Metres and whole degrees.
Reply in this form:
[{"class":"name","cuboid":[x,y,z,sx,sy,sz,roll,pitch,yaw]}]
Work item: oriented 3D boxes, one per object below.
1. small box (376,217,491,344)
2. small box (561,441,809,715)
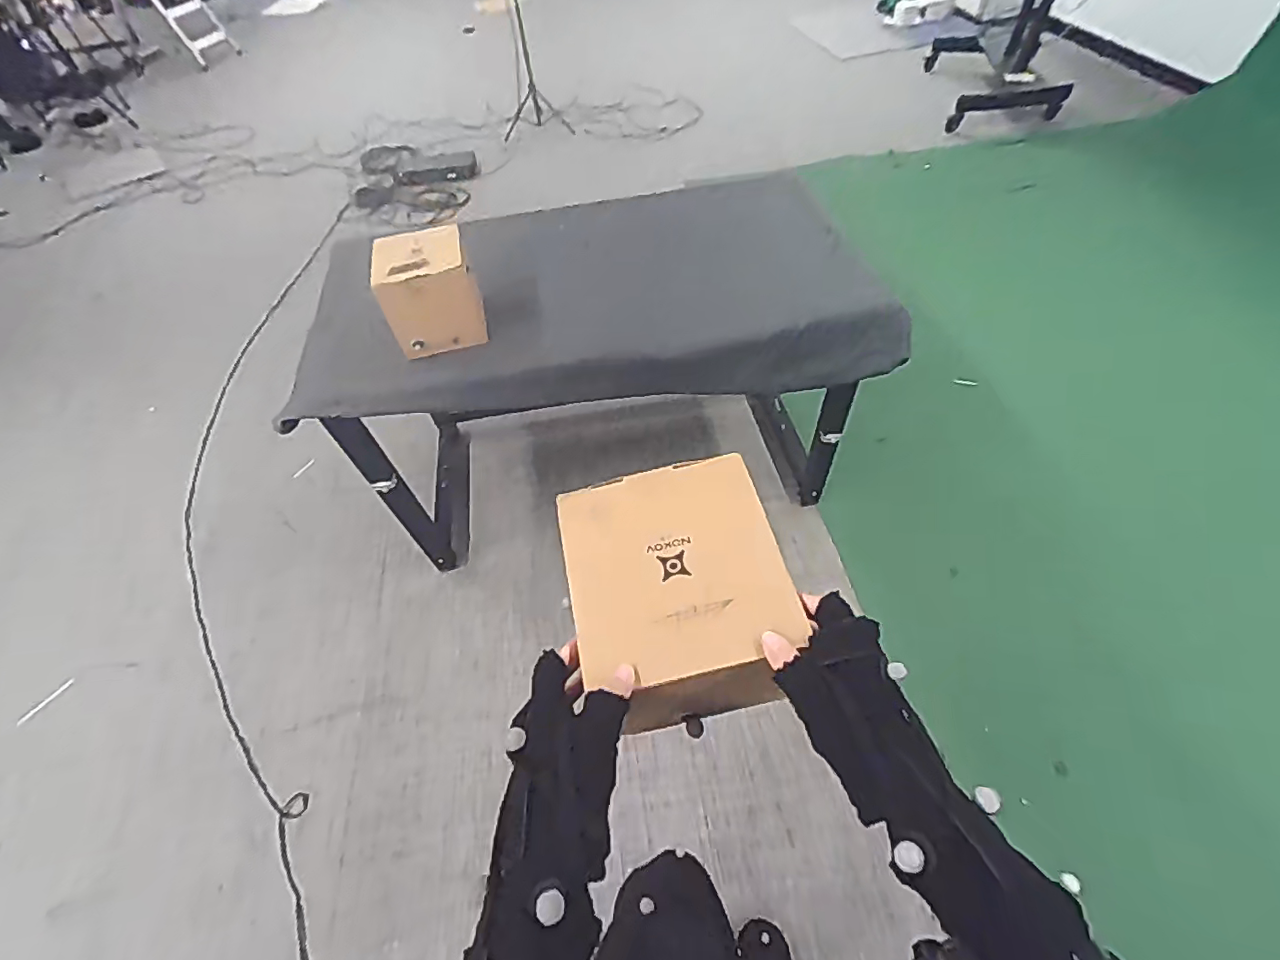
[{"class":"small box","cuboid":[-0.403,-0.389,1.076,0.168,0.176,0.179,-14,52,-6]},{"class":"small box","cuboid":[0.033,0.095,0.496,0.168,0.176,0.179,-14,57,-2]}]
